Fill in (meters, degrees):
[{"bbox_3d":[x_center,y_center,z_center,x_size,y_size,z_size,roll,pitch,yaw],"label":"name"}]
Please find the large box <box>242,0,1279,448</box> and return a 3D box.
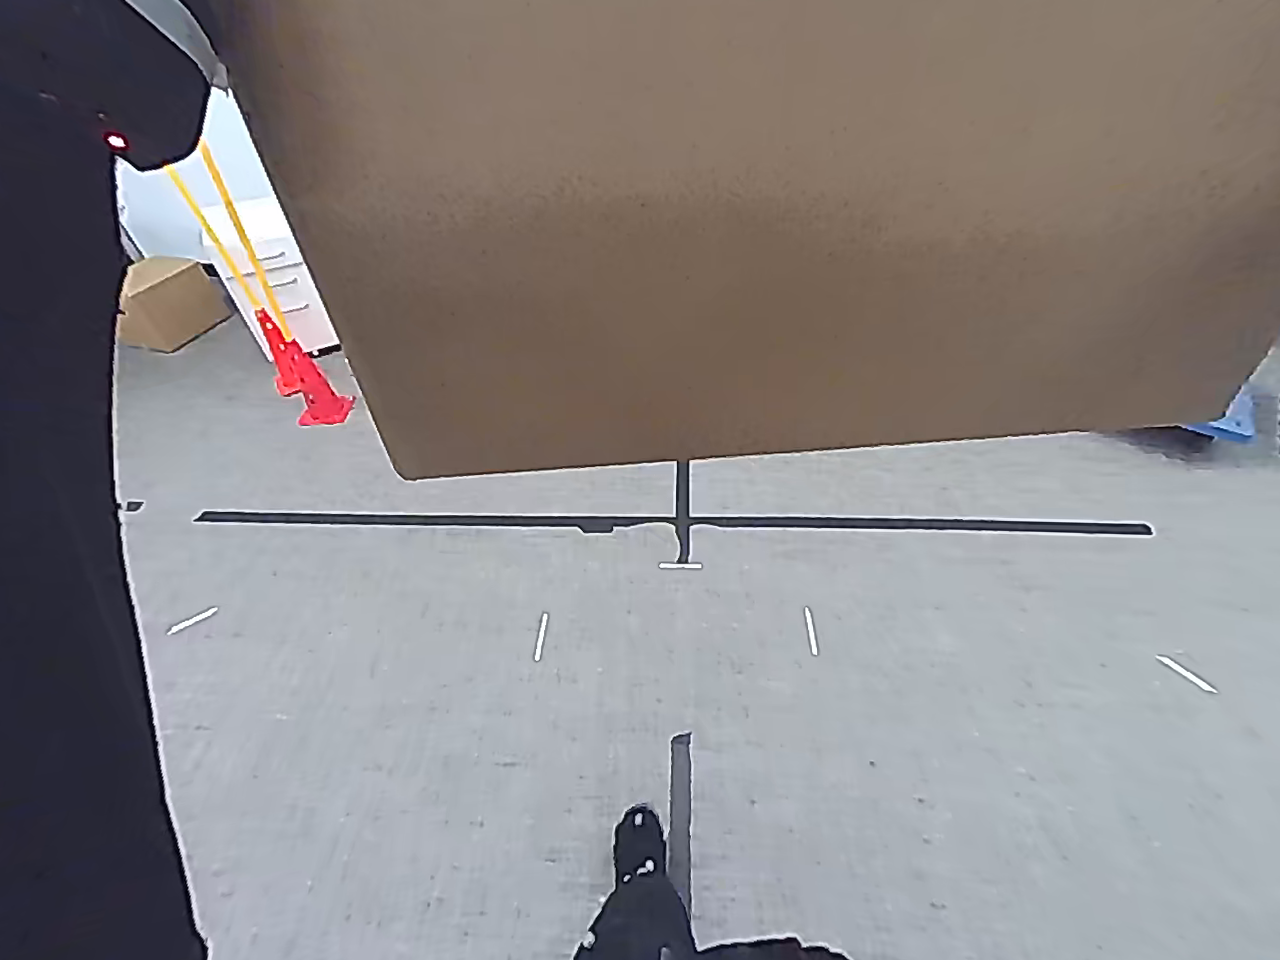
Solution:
[{"bbox_3d":[0.064,-0.235,0.298,0.408,0.320,0.320,-4,39,-1],"label":"large box"}]
